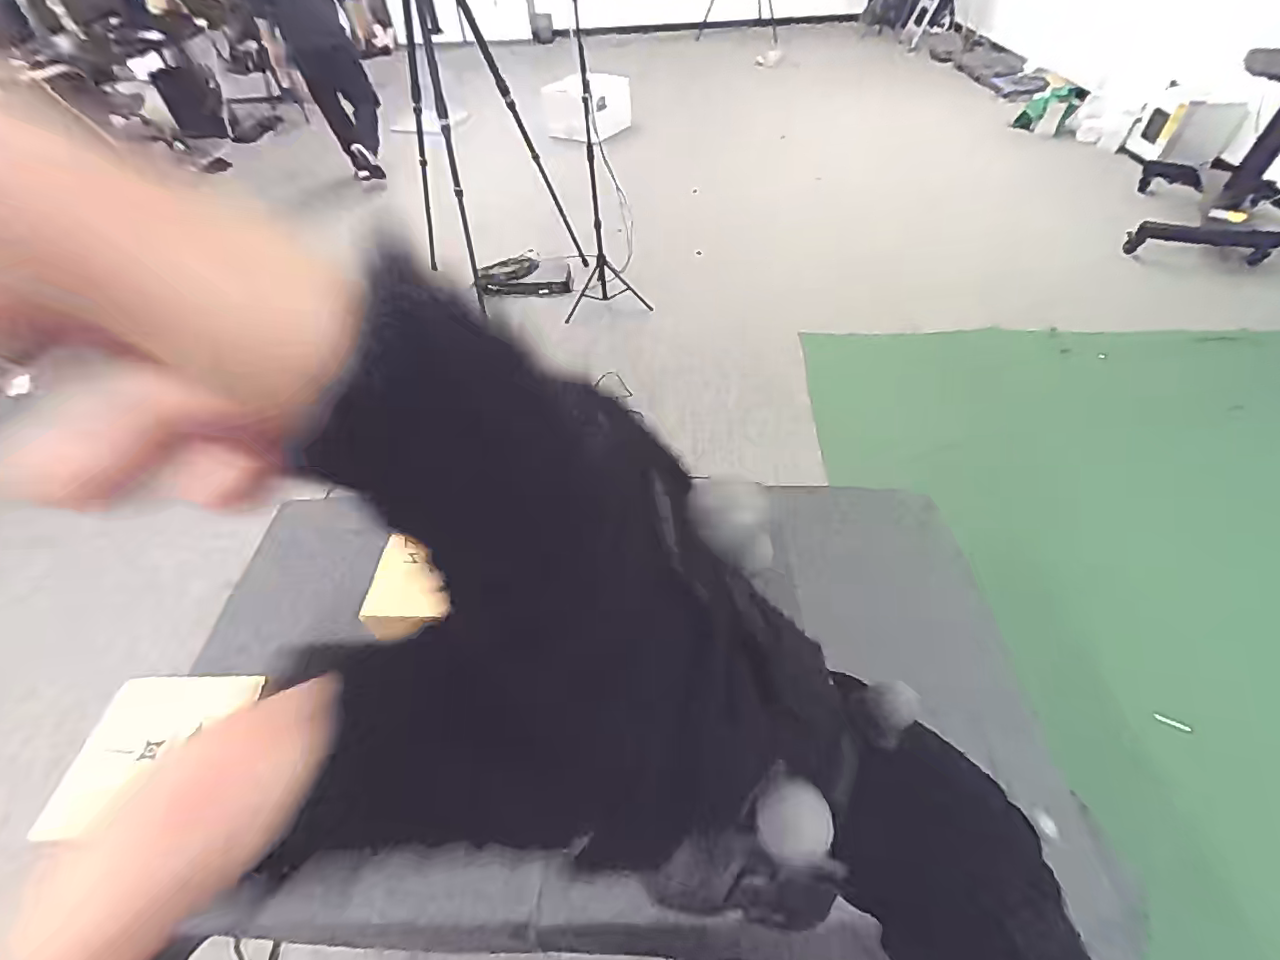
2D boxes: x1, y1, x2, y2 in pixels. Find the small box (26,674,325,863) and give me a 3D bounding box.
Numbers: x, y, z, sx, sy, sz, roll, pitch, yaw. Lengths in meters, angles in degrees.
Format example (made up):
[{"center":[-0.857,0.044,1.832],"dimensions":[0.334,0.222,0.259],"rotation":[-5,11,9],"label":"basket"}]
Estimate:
[{"center":[-0.518,0.344,0.644],"dimensions":[0.179,0.176,0.168],"rotation":[-1,48,2],"label":"small box"}]
